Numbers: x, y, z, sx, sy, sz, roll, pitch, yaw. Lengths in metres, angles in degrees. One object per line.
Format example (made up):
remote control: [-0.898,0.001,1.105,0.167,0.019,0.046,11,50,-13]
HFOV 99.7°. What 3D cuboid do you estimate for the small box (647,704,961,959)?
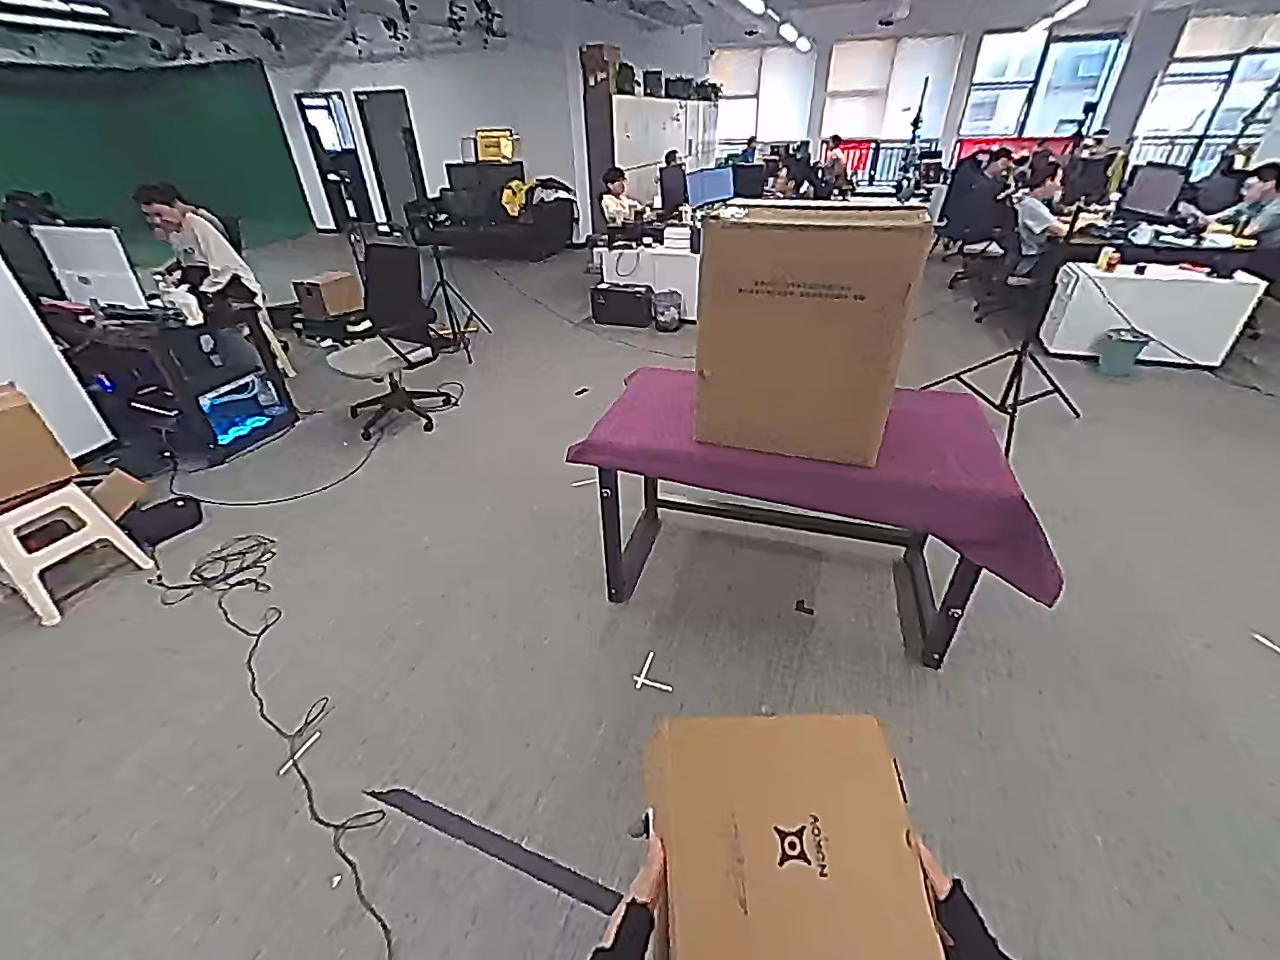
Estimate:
small box: [0.104,0.282,0.433,0.179,0.176,0.168,1,57,-6]
